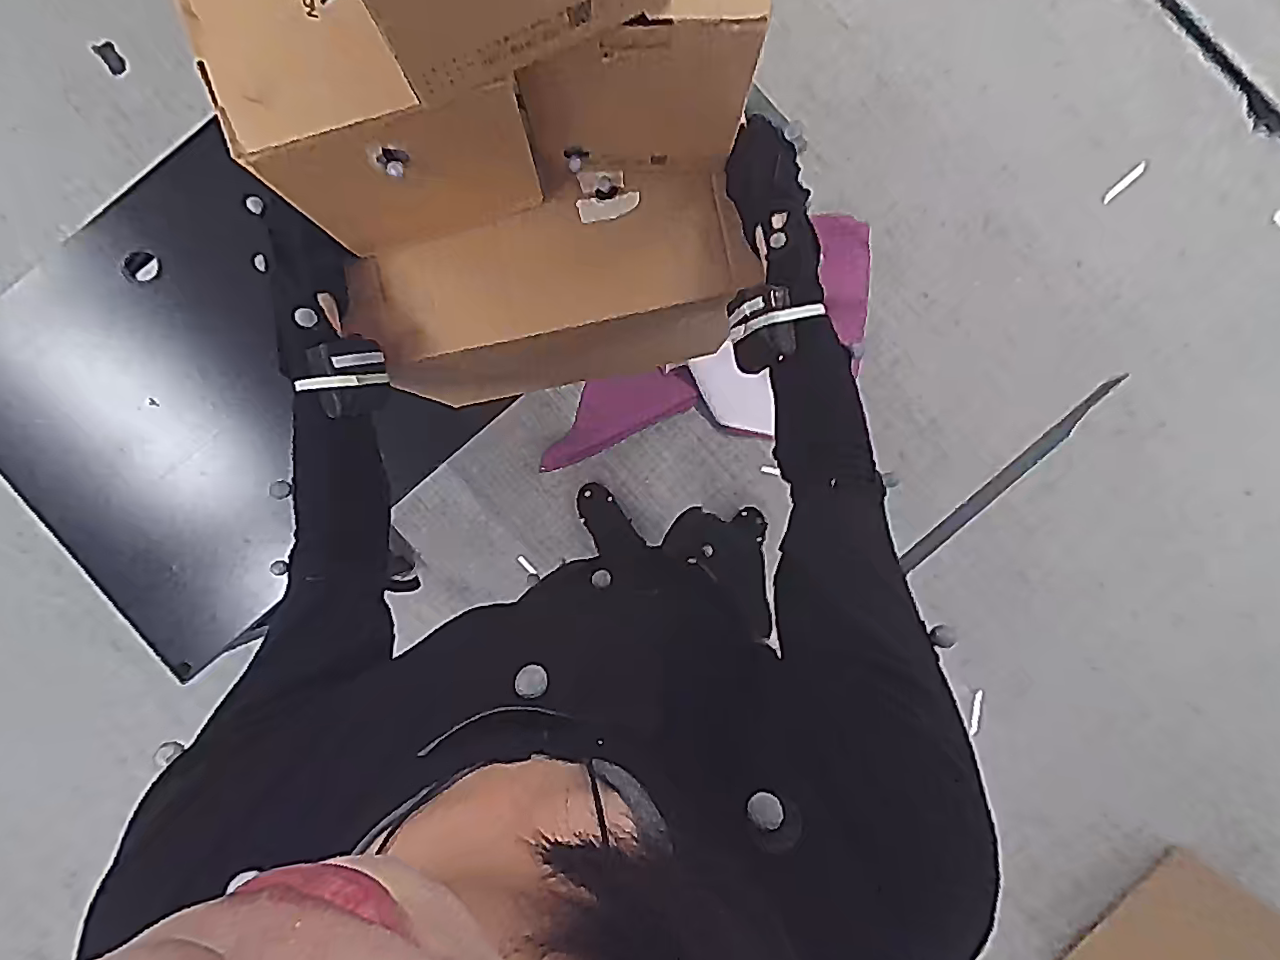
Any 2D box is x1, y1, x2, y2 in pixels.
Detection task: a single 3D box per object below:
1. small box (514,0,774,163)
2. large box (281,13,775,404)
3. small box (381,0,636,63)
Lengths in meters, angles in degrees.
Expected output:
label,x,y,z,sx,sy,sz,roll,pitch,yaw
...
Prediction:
label,x,y,z,sx,sy,sz,roll,pitch,yaw
small box,0.001,-0.365,0.401,0.168,0.176,0.179,0,91,-2
large box,-0.106,-0.298,0.644,0.408,0.320,0.320,-13,93,-2
small box,-0.081,-0.334,0.237,0.168,0.176,0.179,-24,93,-1
